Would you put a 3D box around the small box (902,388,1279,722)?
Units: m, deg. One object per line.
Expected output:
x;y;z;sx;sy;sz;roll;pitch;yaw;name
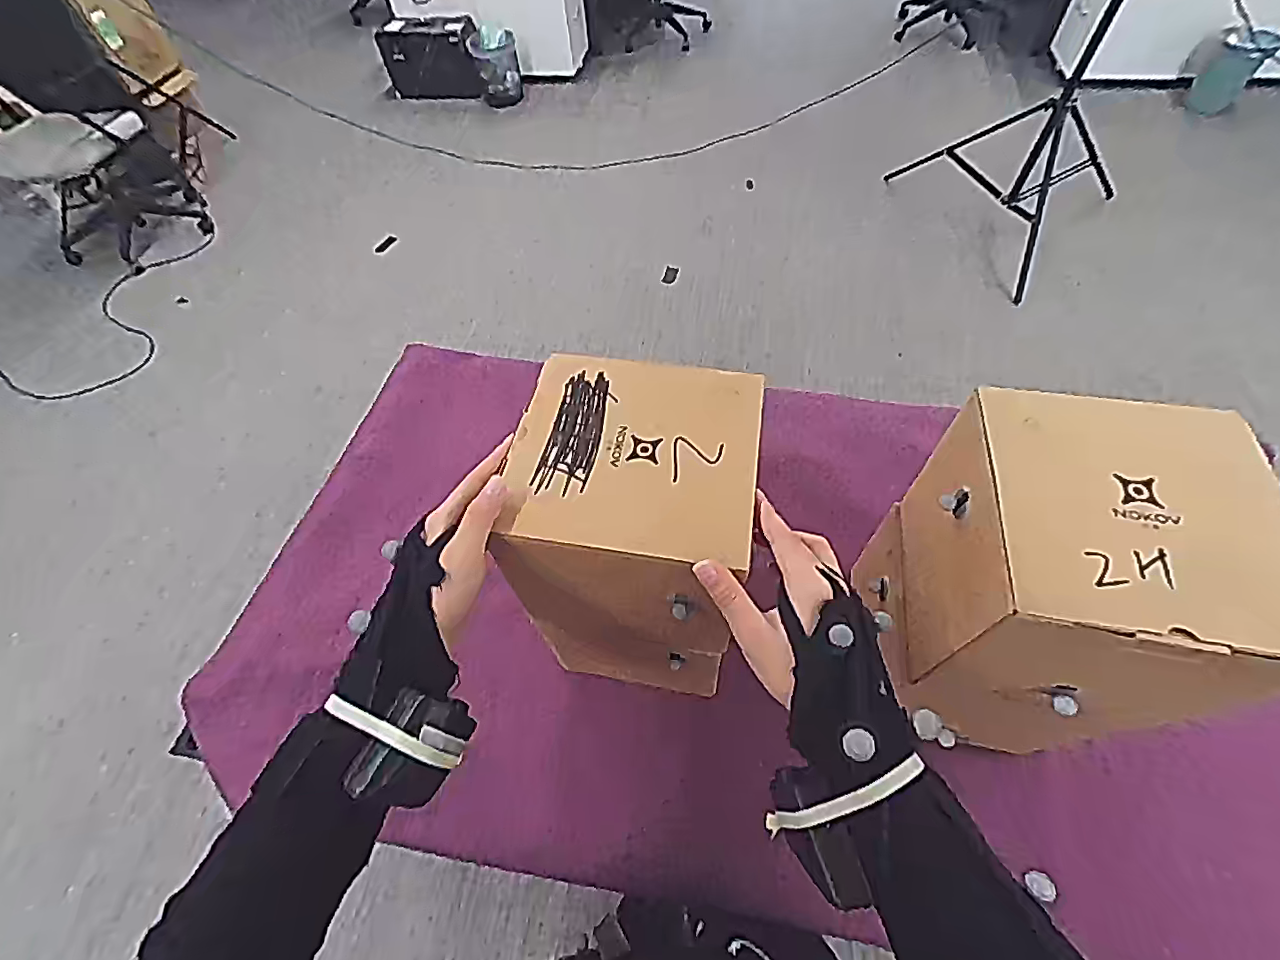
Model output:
0.308;0.059;0.403;0.168;0.176;0.179;8;57;10;small box

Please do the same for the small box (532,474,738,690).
0.004;0.115;0.588;0.179;0.176;0.168;8;57;8;small box

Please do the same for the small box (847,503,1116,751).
0.313;0.150;0.541;0.168;0.176;0.179;9;57;10;small box
